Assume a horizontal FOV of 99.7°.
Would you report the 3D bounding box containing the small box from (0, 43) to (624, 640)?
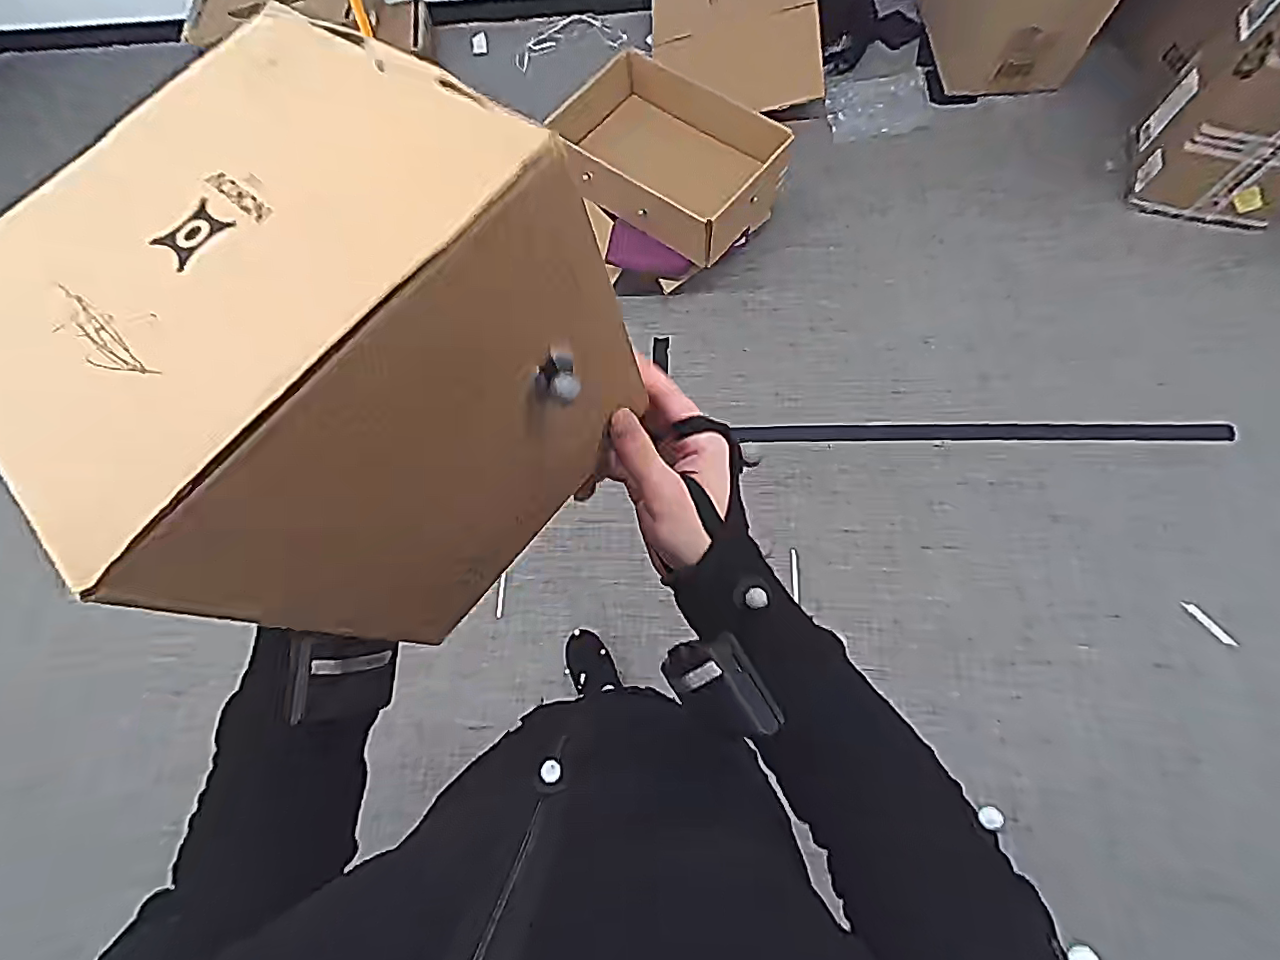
[{"bbox_3d":[-0.124,-0.046,0.257,0.168,0.176,0.179,34,81,22],"label":"small box"}]
